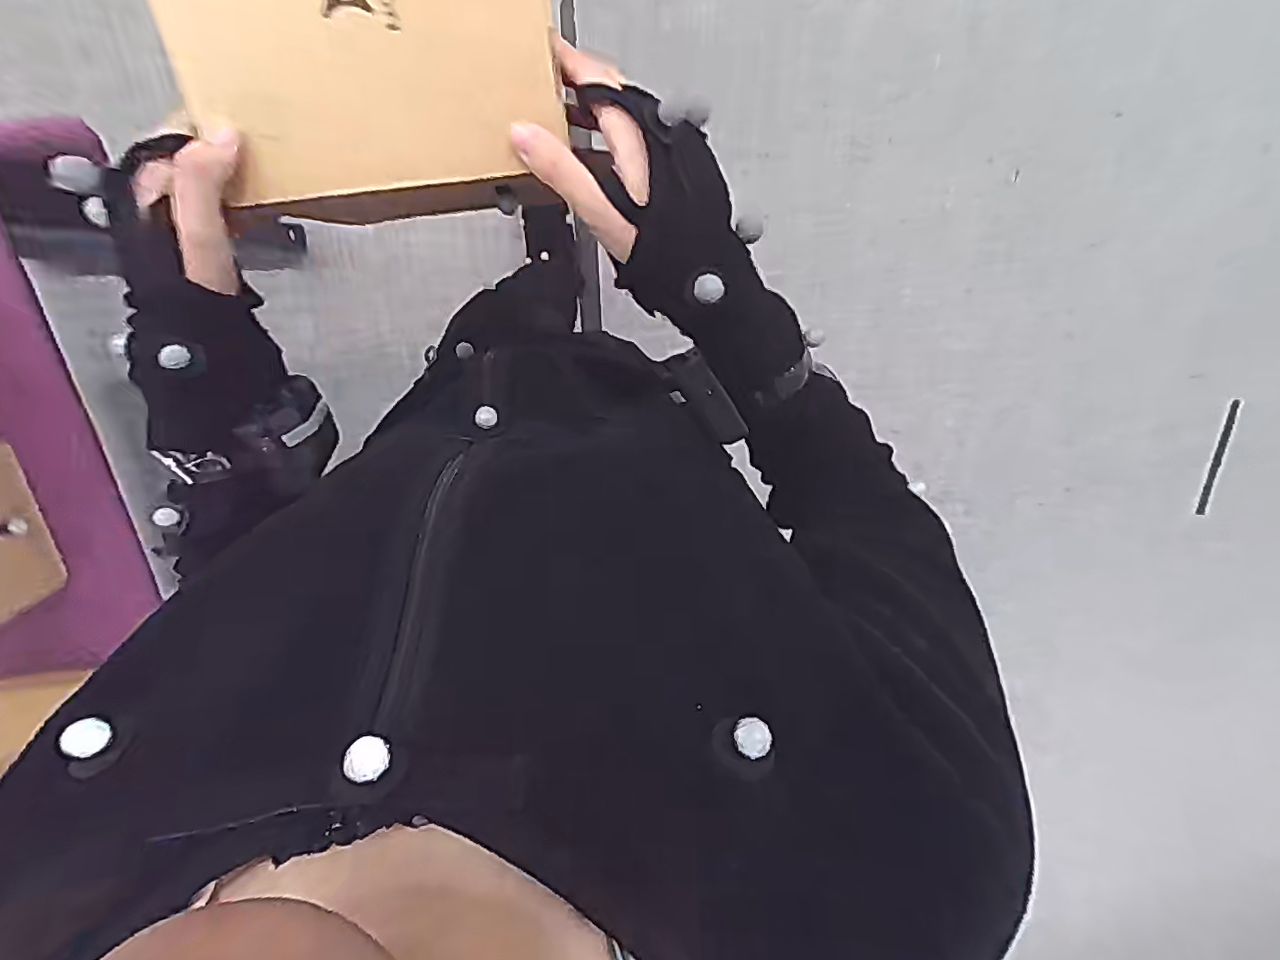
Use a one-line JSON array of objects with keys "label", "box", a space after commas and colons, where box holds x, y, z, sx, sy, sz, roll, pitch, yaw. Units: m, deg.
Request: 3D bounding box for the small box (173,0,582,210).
[{"label": "small box", "box": [-0.132, -0.261, 0.315, 0.179, 0.176, 0.168, -9, 113, -5]}]
